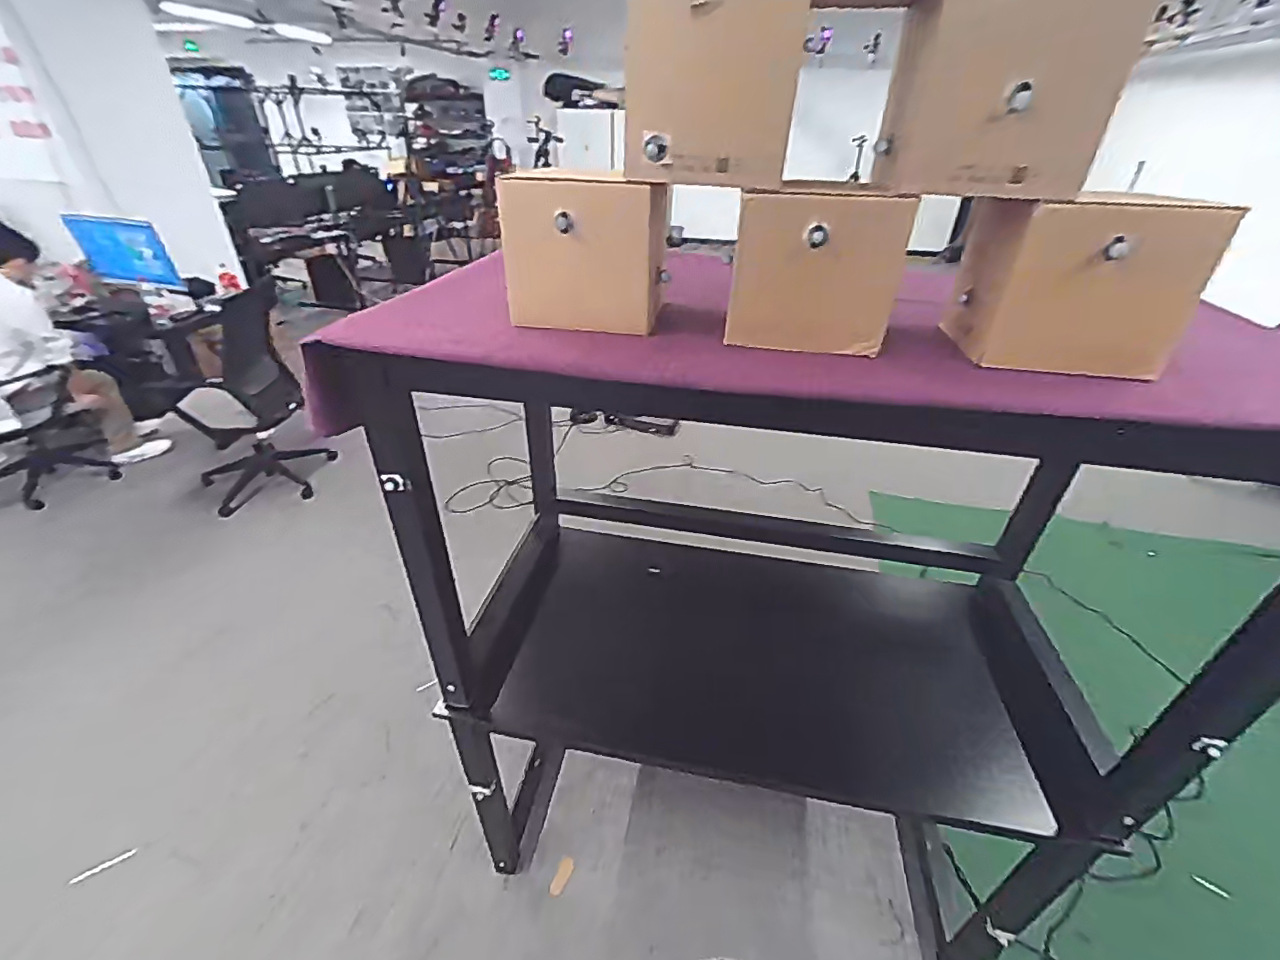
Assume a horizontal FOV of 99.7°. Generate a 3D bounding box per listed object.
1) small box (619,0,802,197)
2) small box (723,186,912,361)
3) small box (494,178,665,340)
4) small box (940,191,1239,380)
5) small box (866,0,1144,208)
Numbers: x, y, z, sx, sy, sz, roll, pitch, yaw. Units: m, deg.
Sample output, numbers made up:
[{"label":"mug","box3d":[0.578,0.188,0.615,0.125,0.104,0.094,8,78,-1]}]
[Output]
[{"label":"small box","box3d":[0.079,-0.410,0.589,0.168,0.176,0.179,9,33,10]},{"label":"small box","box3d":[0.196,-0.250,0.647,0.179,0.176,0.168,7,33,9]},{"label":"small box","box3d":[-0.065,-0.287,0.696,0.179,0.176,0.168,6,34,7]},{"label":"small box","box3d":[0.470,-0.220,0.606,0.179,0.176,0.168,6,33,10]},{"label":"small box","box3d":[0.342,-0.378,0.547,0.168,0.176,0.179,6,33,9]}]
